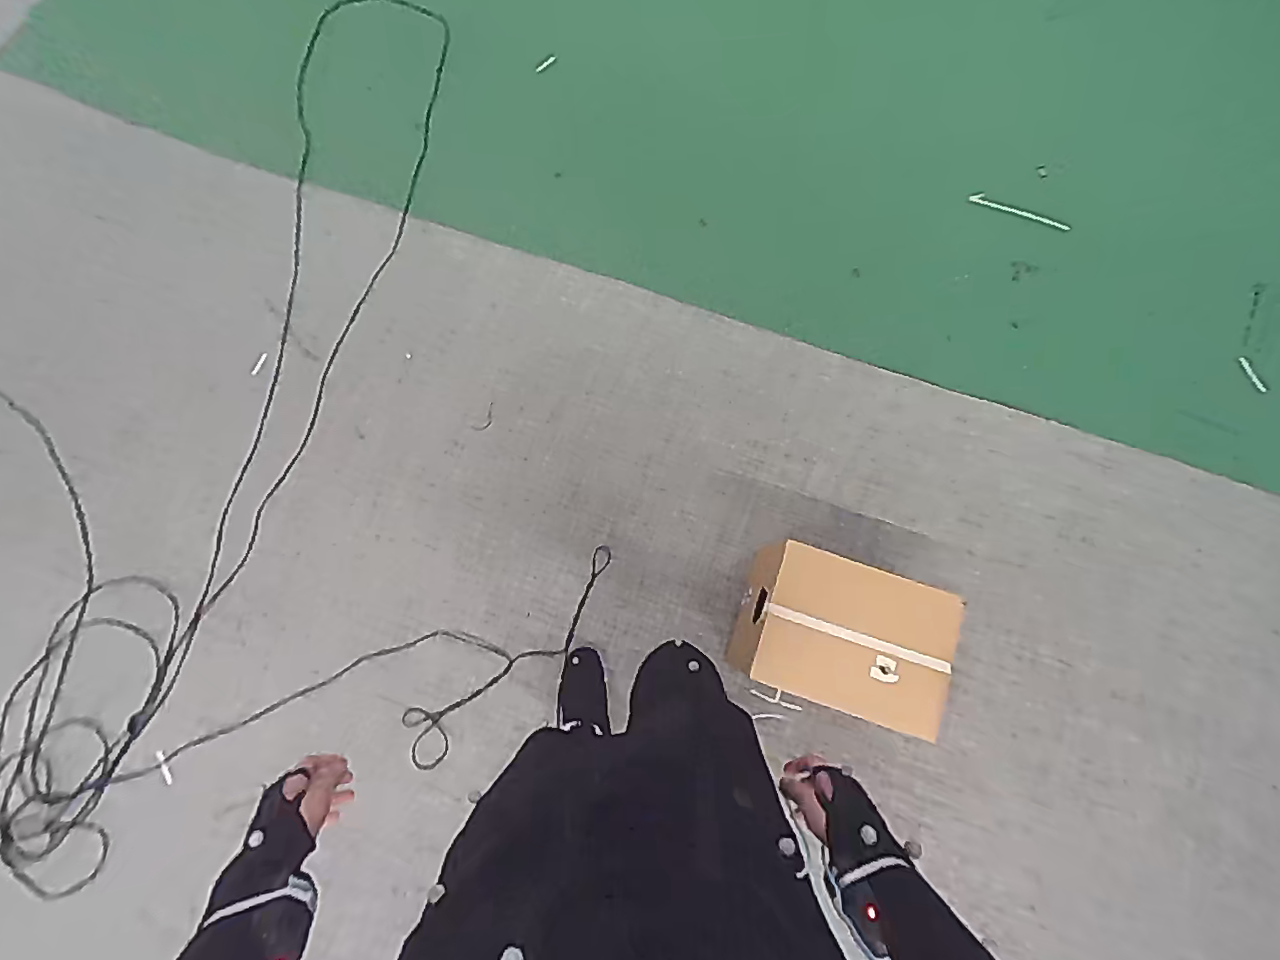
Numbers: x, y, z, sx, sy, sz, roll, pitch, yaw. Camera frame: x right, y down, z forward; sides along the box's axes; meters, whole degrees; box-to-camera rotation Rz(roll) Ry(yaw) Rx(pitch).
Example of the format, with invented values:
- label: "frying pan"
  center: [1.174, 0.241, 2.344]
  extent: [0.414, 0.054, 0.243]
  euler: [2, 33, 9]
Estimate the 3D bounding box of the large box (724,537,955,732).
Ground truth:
- label: "large box"
  center: [0.454, 0.358, 1.308]
  extent: [0.408, 0.320, 0.320]
  euler: [19, 79, 3]
